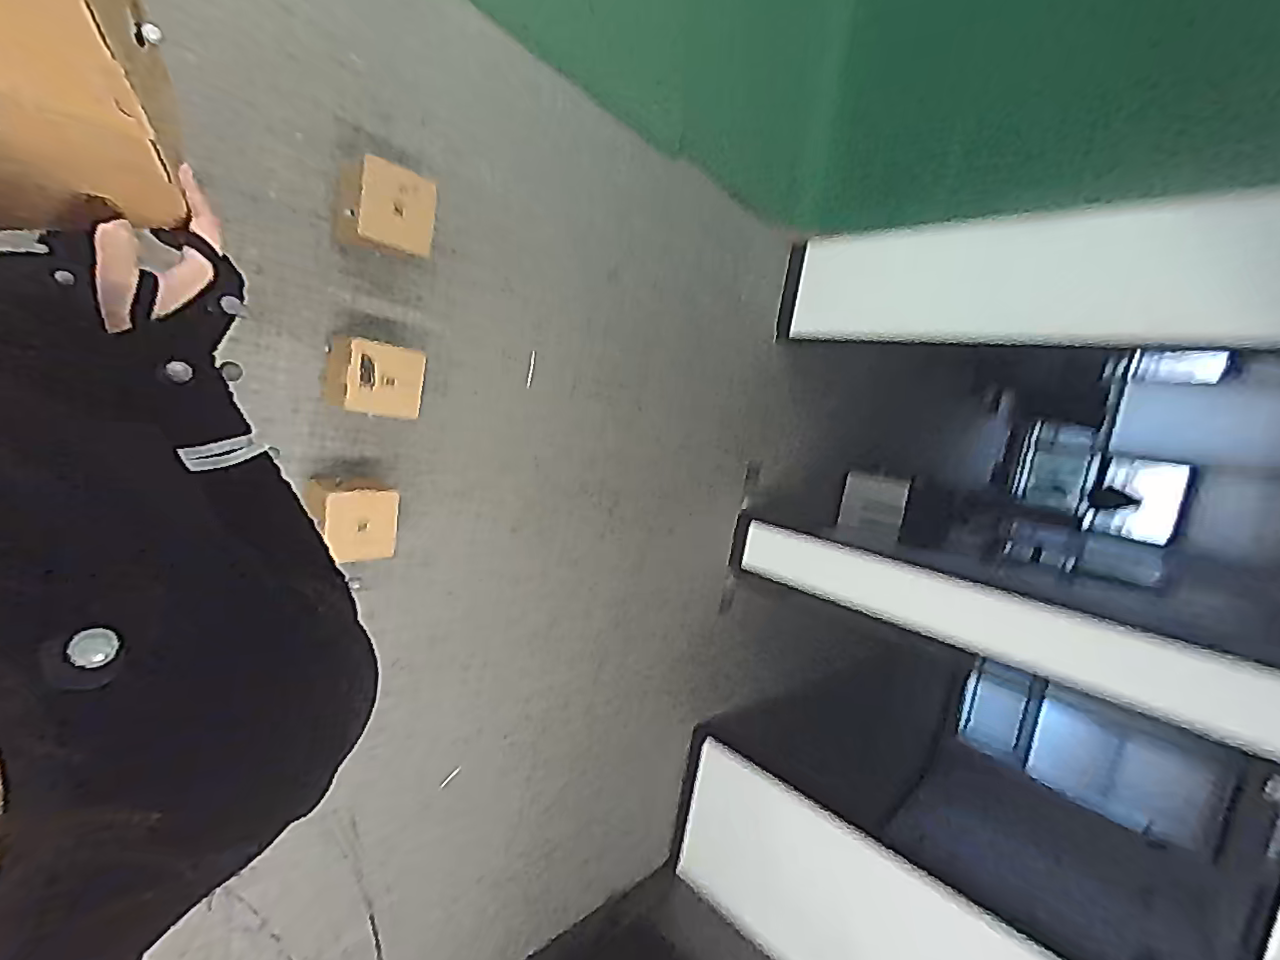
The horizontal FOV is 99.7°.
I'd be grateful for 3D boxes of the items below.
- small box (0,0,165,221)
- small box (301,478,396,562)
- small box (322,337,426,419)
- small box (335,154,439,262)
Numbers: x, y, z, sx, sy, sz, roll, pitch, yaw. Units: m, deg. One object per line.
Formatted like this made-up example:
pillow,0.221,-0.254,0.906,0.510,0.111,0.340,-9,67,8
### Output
small box,-0.421,-0.276,0.311,0.179,0.176,0.168,-16,157,-24
small box,-0.740,0.093,1.368,0.168,0.176,0.179,1,102,-46
small box,-0.664,-0.252,1.341,0.179,0.176,0.168,4,99,-48
small box,-0.605,-0.633,1.286,0.168,0.176,0.179,3,100,-48
